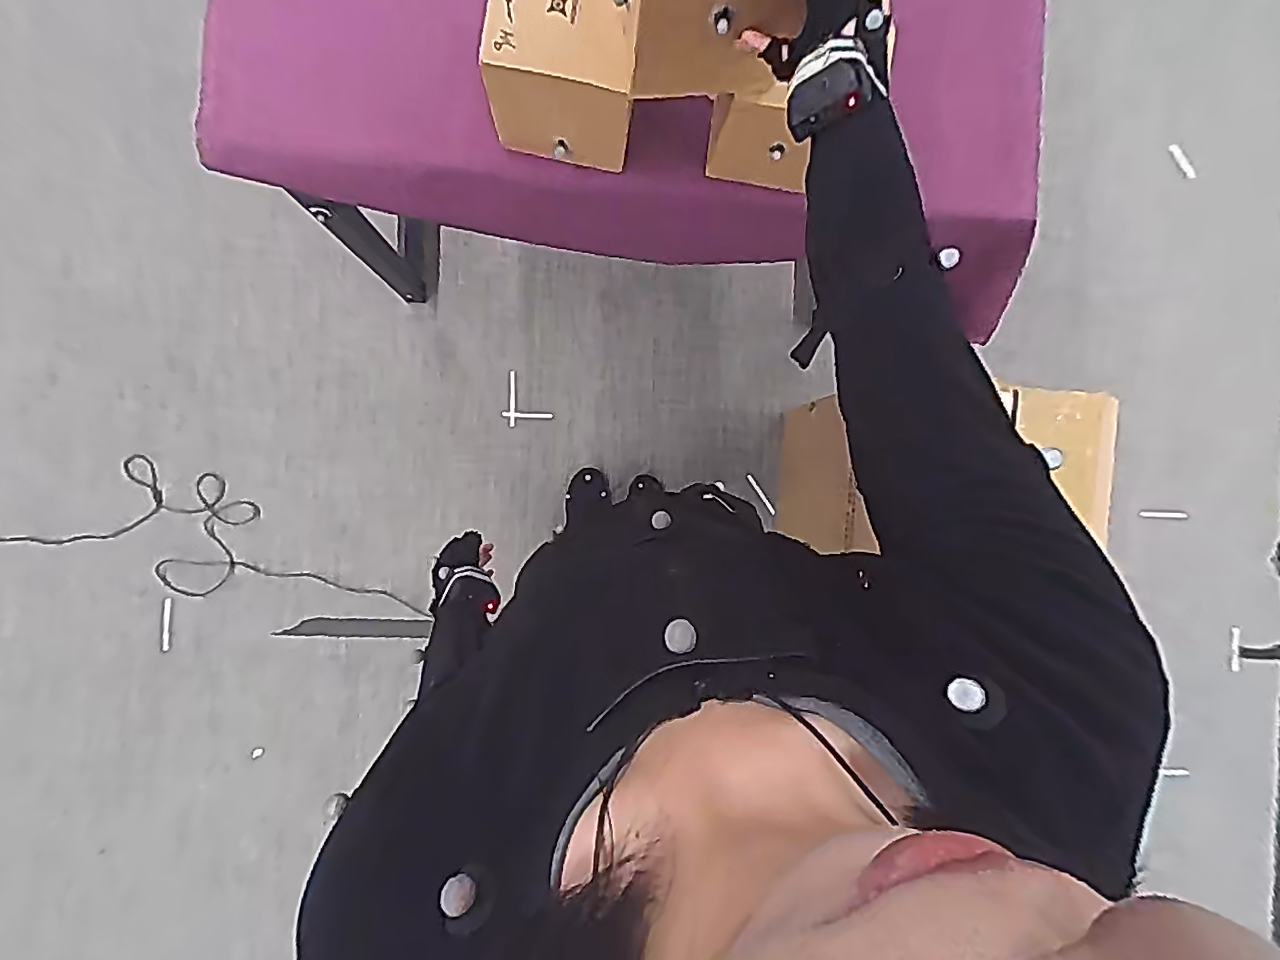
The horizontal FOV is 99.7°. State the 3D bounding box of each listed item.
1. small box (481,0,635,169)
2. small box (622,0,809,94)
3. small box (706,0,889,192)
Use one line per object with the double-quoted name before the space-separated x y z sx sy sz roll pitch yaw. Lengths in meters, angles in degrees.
"small box" -0.091 -0.538 0.700 0.179 0.176 0.168 9 89 -6
"small box" 0.071 -0.525 0.547 0.179 0.176 0.168 -7 96 -5
"small box" 0.199 -0.516 0.725 0.179 0.176 0.168 7 89 -4
